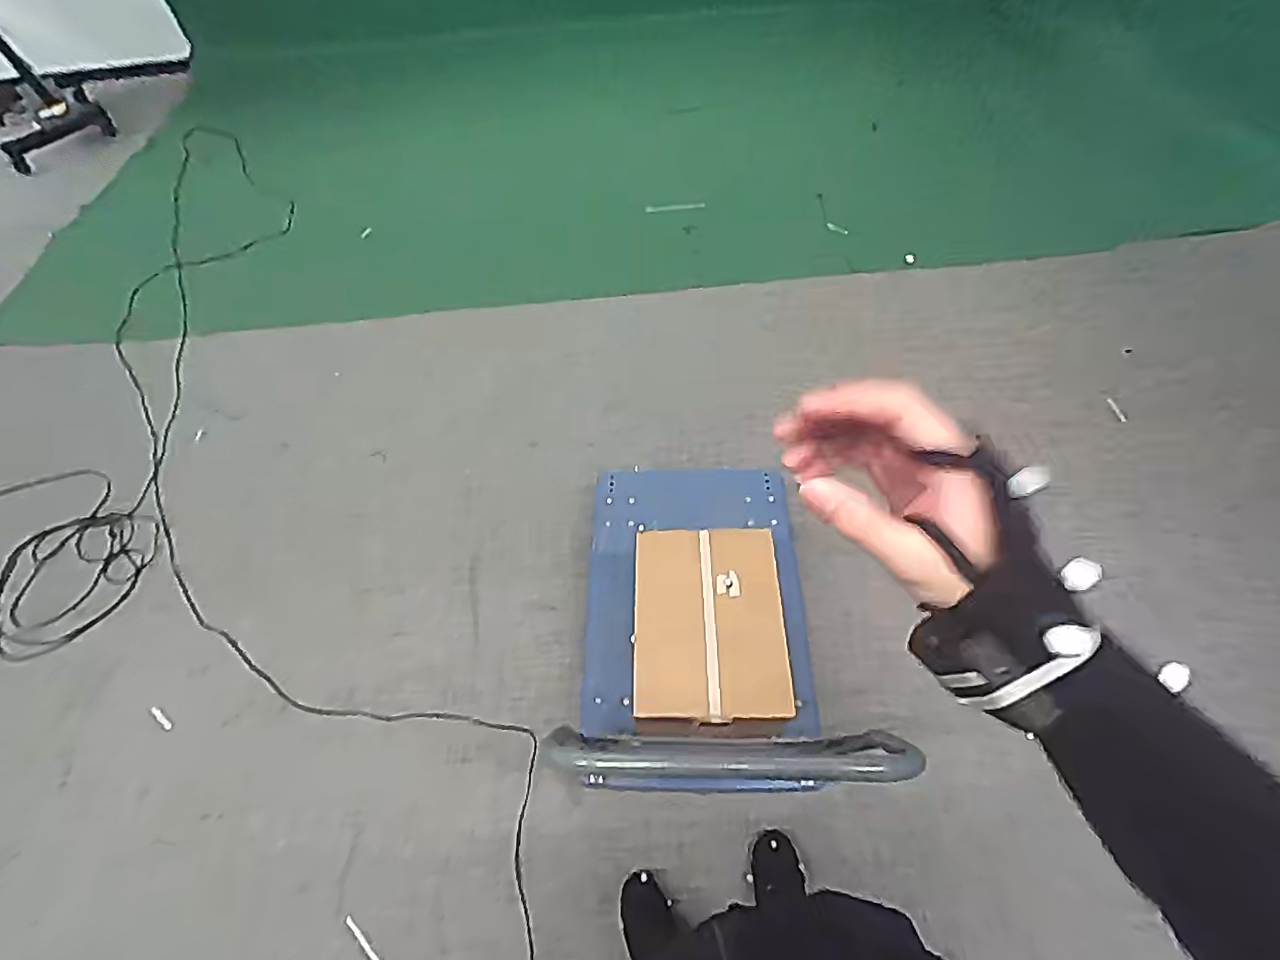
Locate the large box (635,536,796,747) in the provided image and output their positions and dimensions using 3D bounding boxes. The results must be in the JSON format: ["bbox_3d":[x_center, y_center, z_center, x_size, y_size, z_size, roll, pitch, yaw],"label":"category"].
[{"bbox_3d":[0.155,0.383,1.265,0.320,0.320,0.408,-1,56,3],"label":"large box"}]
